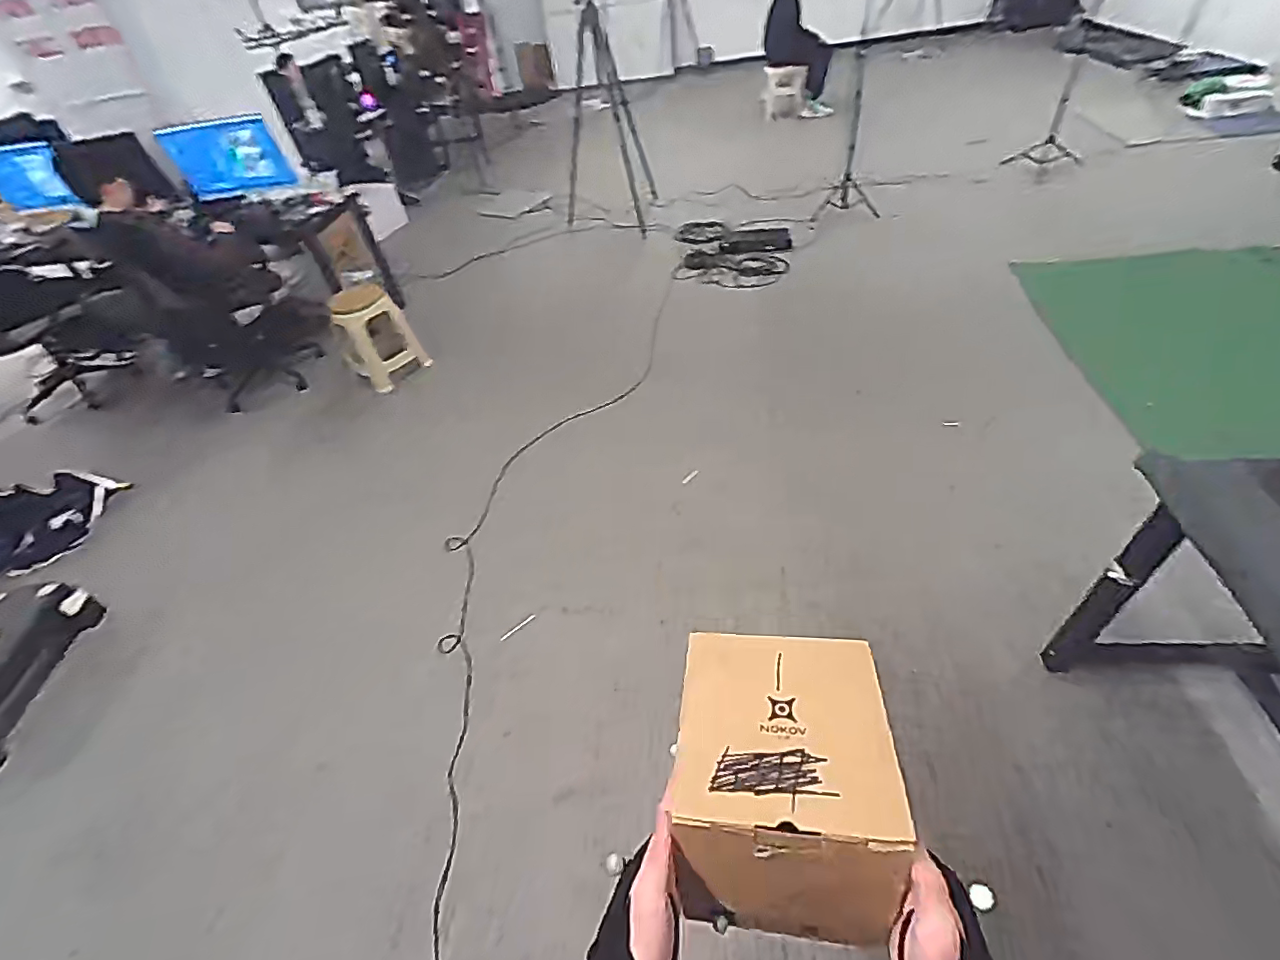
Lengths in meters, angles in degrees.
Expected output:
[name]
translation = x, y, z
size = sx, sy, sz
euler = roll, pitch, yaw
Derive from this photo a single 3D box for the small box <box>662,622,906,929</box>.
[small box]
translation = 0.121, 0.252, 0.476
size = 0.168, 0.176, 0.179
euler = 0, 32, 12
